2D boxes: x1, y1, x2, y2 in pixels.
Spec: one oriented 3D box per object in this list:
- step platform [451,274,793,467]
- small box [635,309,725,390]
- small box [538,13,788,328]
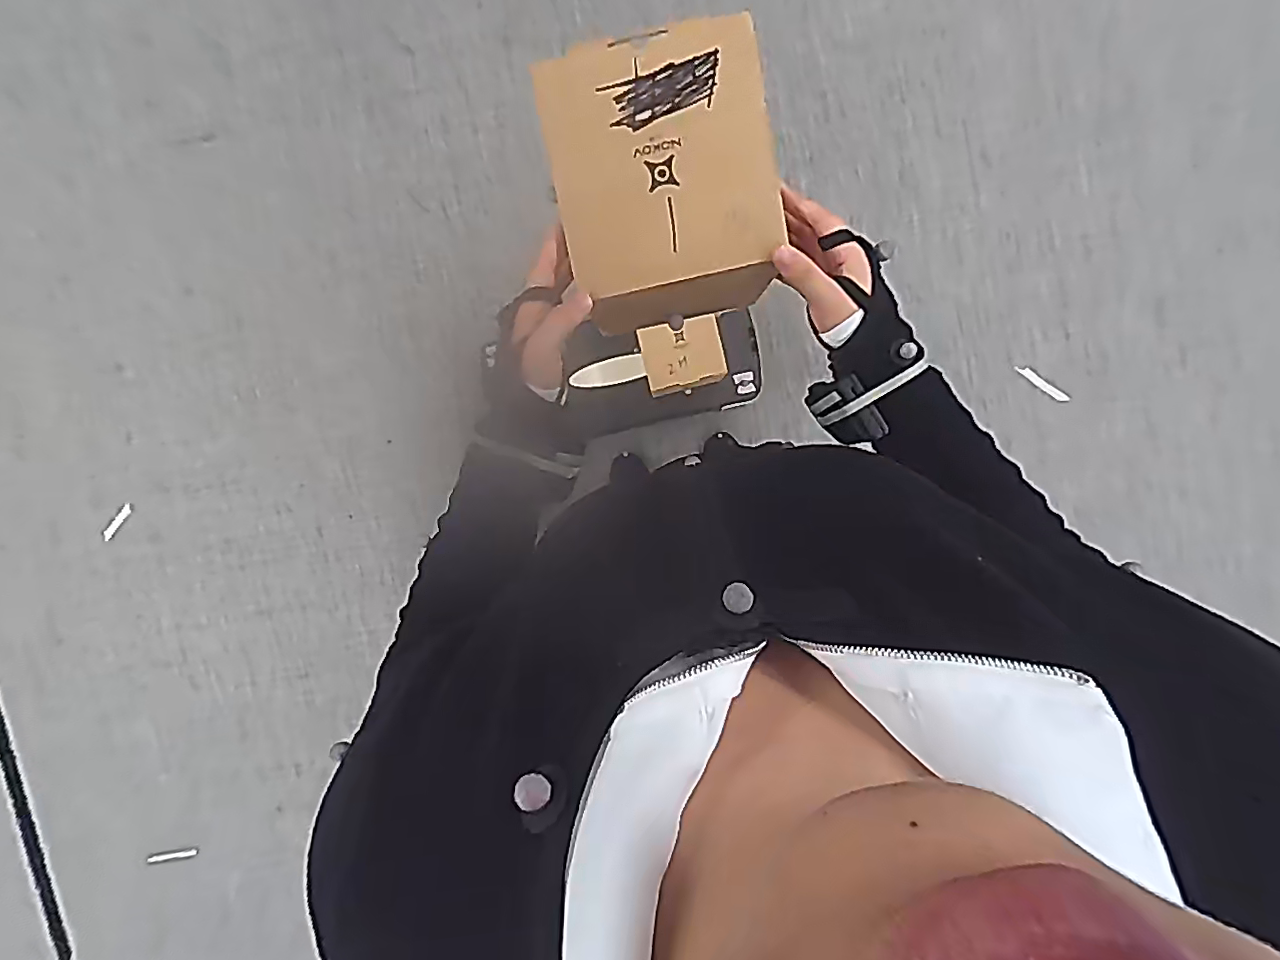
[{"bbox_3d":[-0.038,-0.235,1.178,0.684,0.204,0.286,-13,93,2],"label":"step platform"},{"bbox_3d":[0.083,-0.303,1.204,0.168,0.176,0.179,-14,94,4],"label":"small box"},{"bbox_3d":[0.020,-0.251,0.485,0.168,0.176,0.179,-11,96,4],"label":"small box"}]
